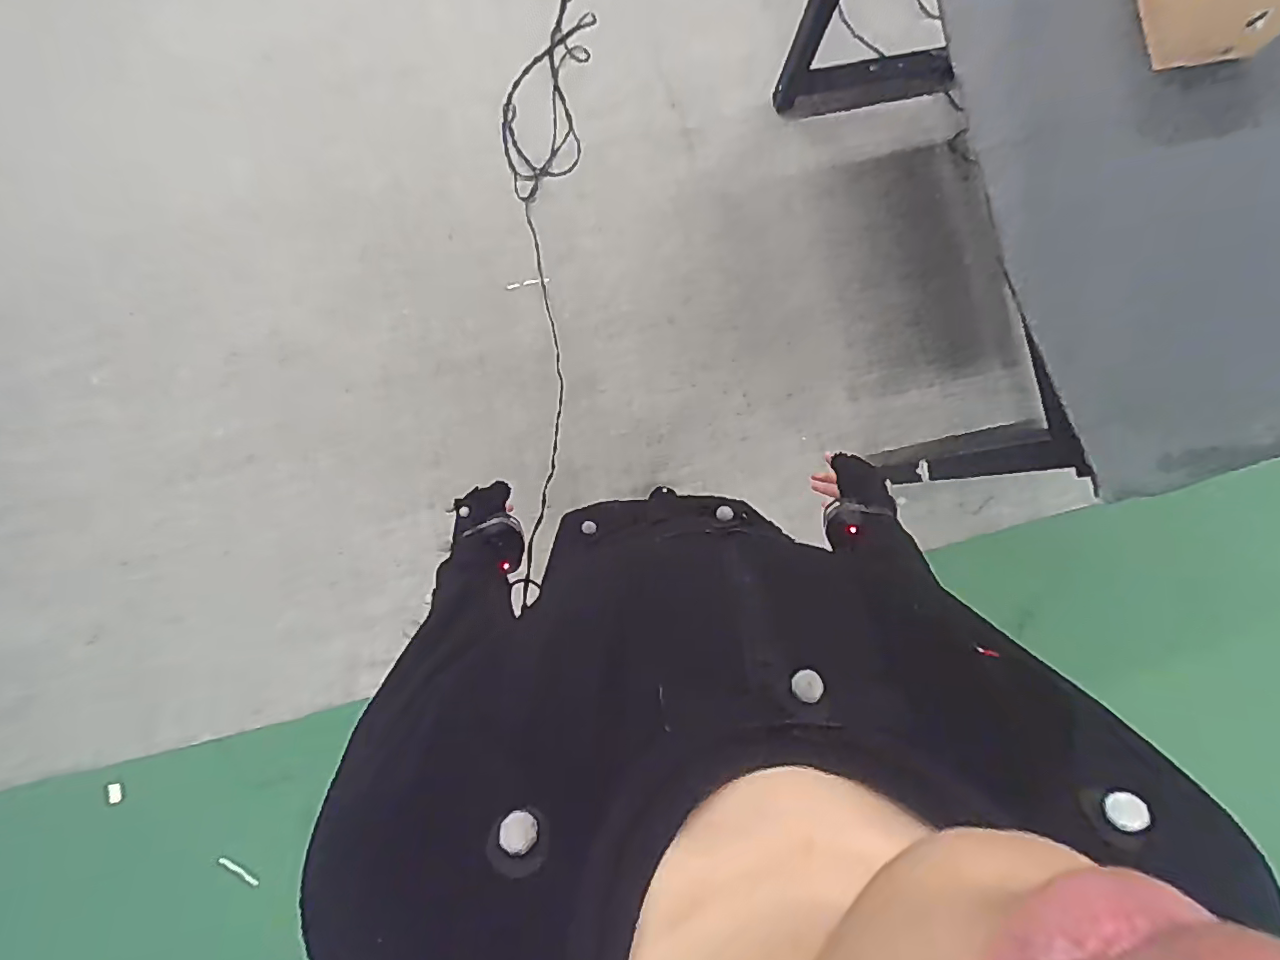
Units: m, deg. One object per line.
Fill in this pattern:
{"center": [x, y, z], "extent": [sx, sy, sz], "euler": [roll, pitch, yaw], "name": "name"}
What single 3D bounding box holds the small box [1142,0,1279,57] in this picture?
{"center": [0.856, -0.735, 0.755], "extent": [0.168, 0.176, 0.179], "euler": [-10, 87, -3], "name": "small box"}
